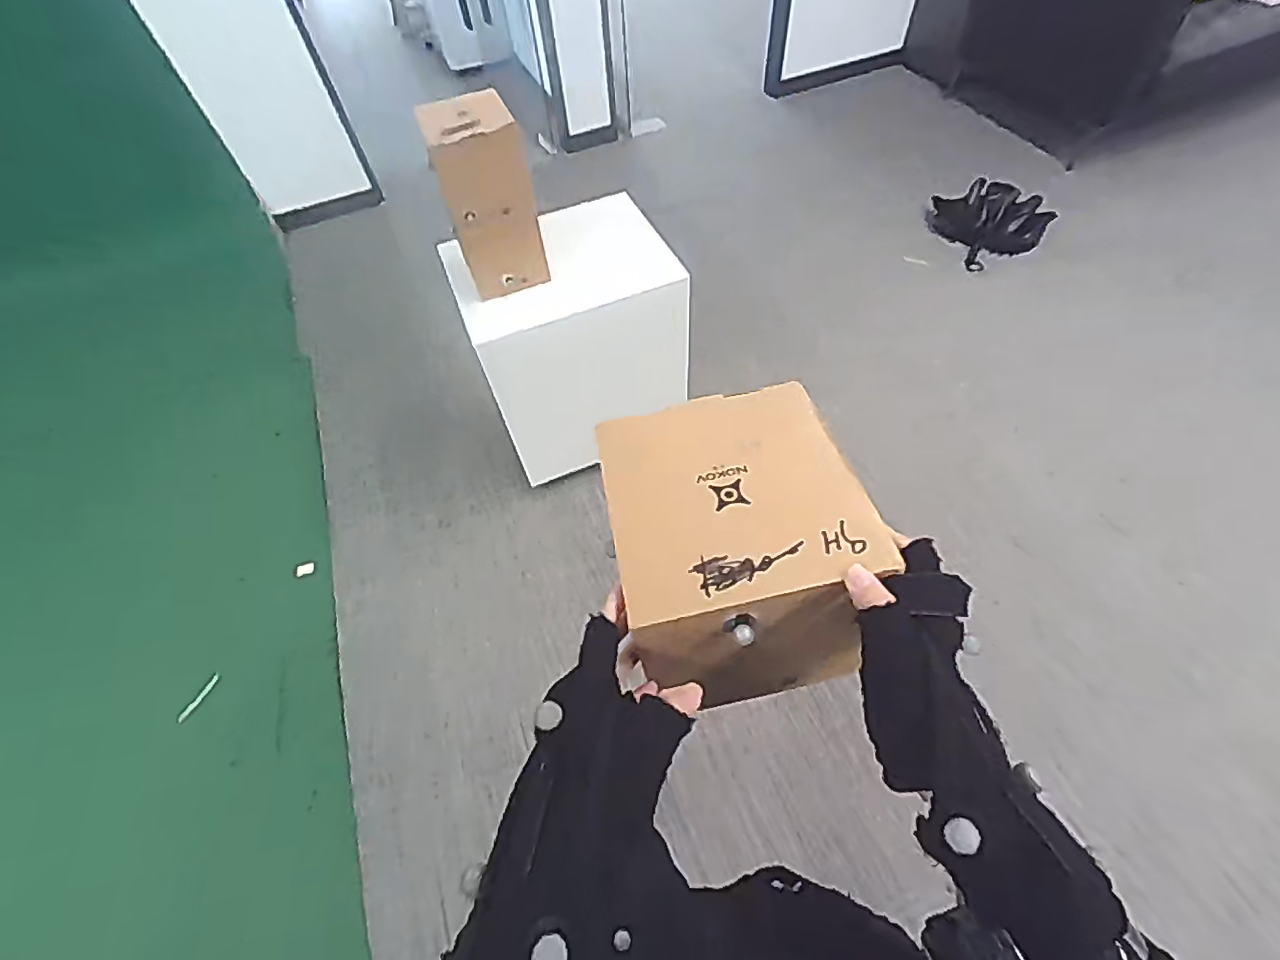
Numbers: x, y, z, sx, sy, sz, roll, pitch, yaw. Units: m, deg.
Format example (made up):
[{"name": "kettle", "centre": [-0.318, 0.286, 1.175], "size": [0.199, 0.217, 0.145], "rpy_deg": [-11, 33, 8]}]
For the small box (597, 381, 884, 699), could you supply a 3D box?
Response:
[{"name": "small box", "centre": [0.066, 0.050, 0.440], "size": [0.168, 0.176, 0.179], "rpy_deg": [-12, 49, 0]}]

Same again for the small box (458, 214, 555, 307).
[{"name": "small box", "centre": [-0.304, -0.523, 1.213], "size": [0.168, 0.176, 0.179], "rpy_deg": [-22, 59, -10]}]

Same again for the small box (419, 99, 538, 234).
[{"name": "small box", "centre": [-0.316, -0.615, 1.076], "size": [0.168, 0.176, 0.179], "rpy_deg": [-21, 57, -9]}]
